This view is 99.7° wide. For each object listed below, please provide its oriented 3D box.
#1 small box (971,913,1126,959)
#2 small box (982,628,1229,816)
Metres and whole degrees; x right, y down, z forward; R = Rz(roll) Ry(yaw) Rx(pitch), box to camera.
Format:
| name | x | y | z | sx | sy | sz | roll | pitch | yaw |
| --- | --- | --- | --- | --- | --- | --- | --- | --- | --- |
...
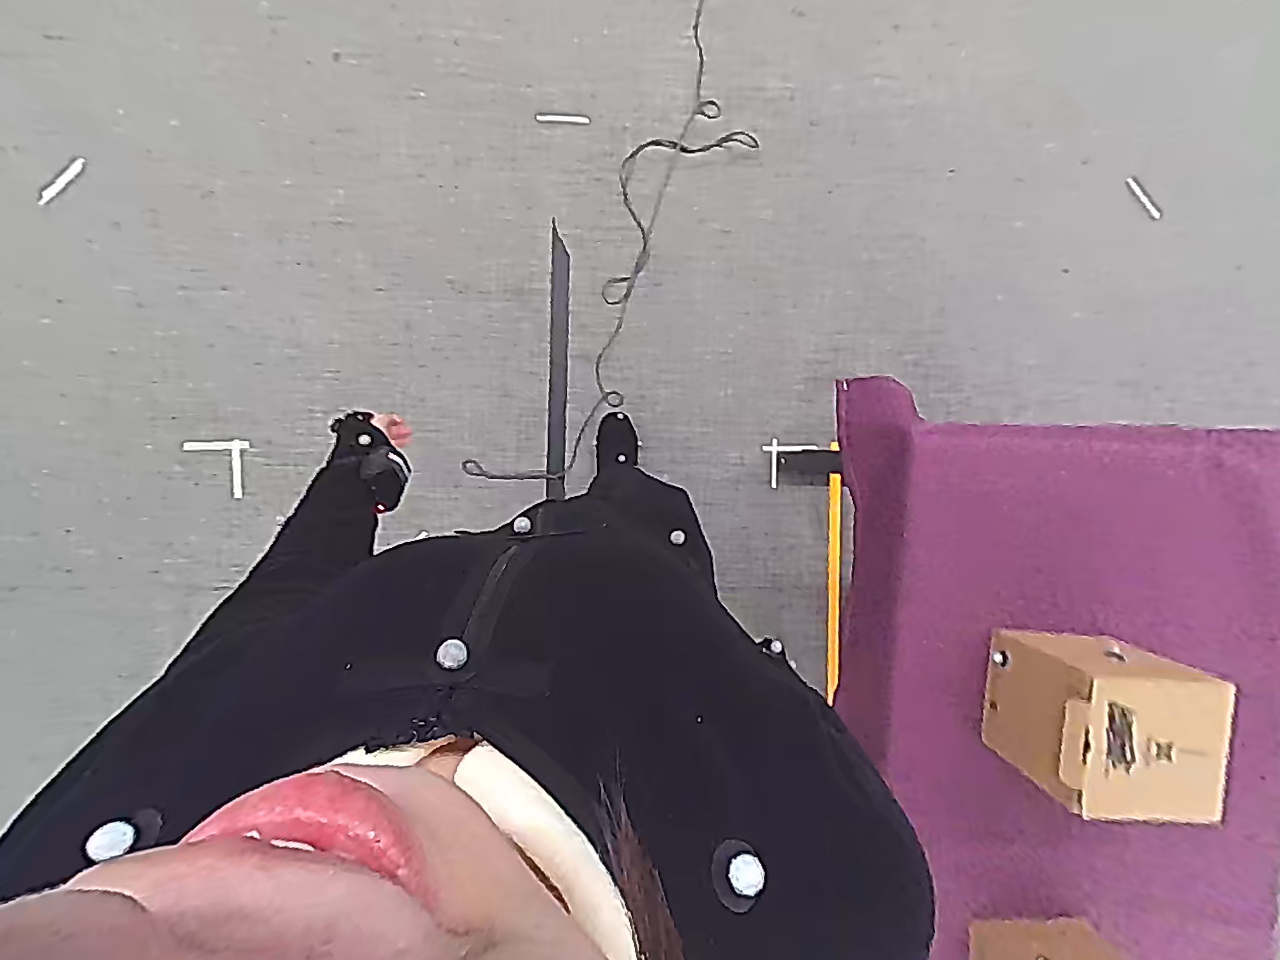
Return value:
| name | x | y | z | sx | sy | sz | roll | pitch | yaw |
| --- | --- | --- | --- | --- | --- | --- | --- | --- | --- |
| small box | 0.569 | 0.724 | 0.723 | 0.179 | 0.176 | 0.168 | 1 | 93 | -2 |
| small box | 0.586 | 0.300 | 0.705 | 0.179 | 0.176 | 0.168 | 4 | 93 | -3 |
